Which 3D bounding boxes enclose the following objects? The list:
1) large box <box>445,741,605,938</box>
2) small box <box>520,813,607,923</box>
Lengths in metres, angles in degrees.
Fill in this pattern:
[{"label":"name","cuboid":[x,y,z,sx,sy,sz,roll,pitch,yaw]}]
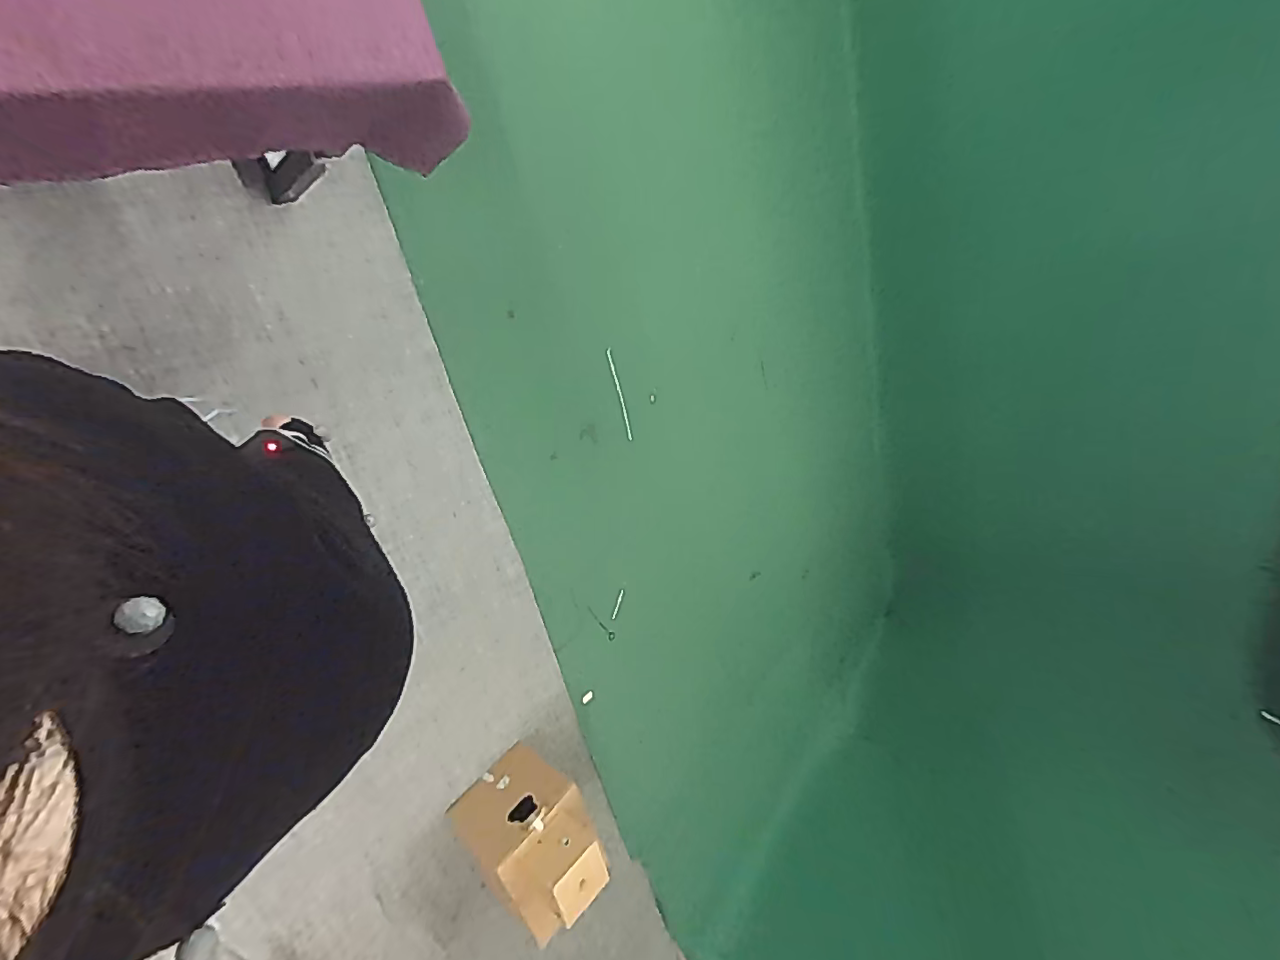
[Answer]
[{"label":"large box","cuboid":[-0.374,1.169,1.791,0.320,0.320,0.408,-35,120,-39]},{"label":"small box","cuboid":[-0.226,1.121,1.582,0.168,0.176,0.179,-31,118,-39]}]
